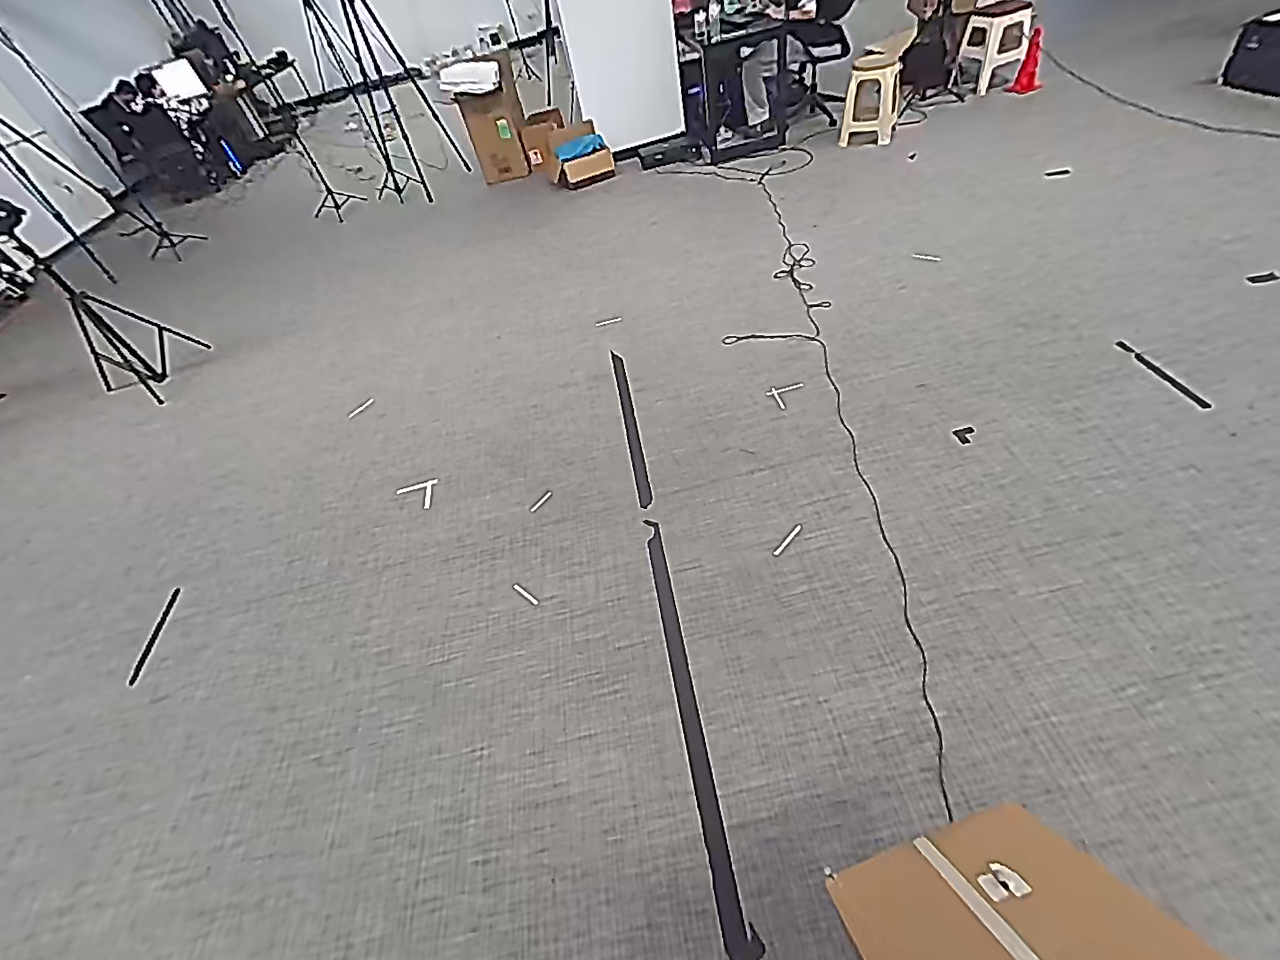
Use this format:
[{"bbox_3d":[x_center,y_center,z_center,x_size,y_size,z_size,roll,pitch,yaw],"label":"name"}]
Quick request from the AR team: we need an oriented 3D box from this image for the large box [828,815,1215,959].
[{"bbox_3d":[0.478,0.677,0.605,0.320,0.408,0.320,-20,83,-2],"label":"large box"}]
